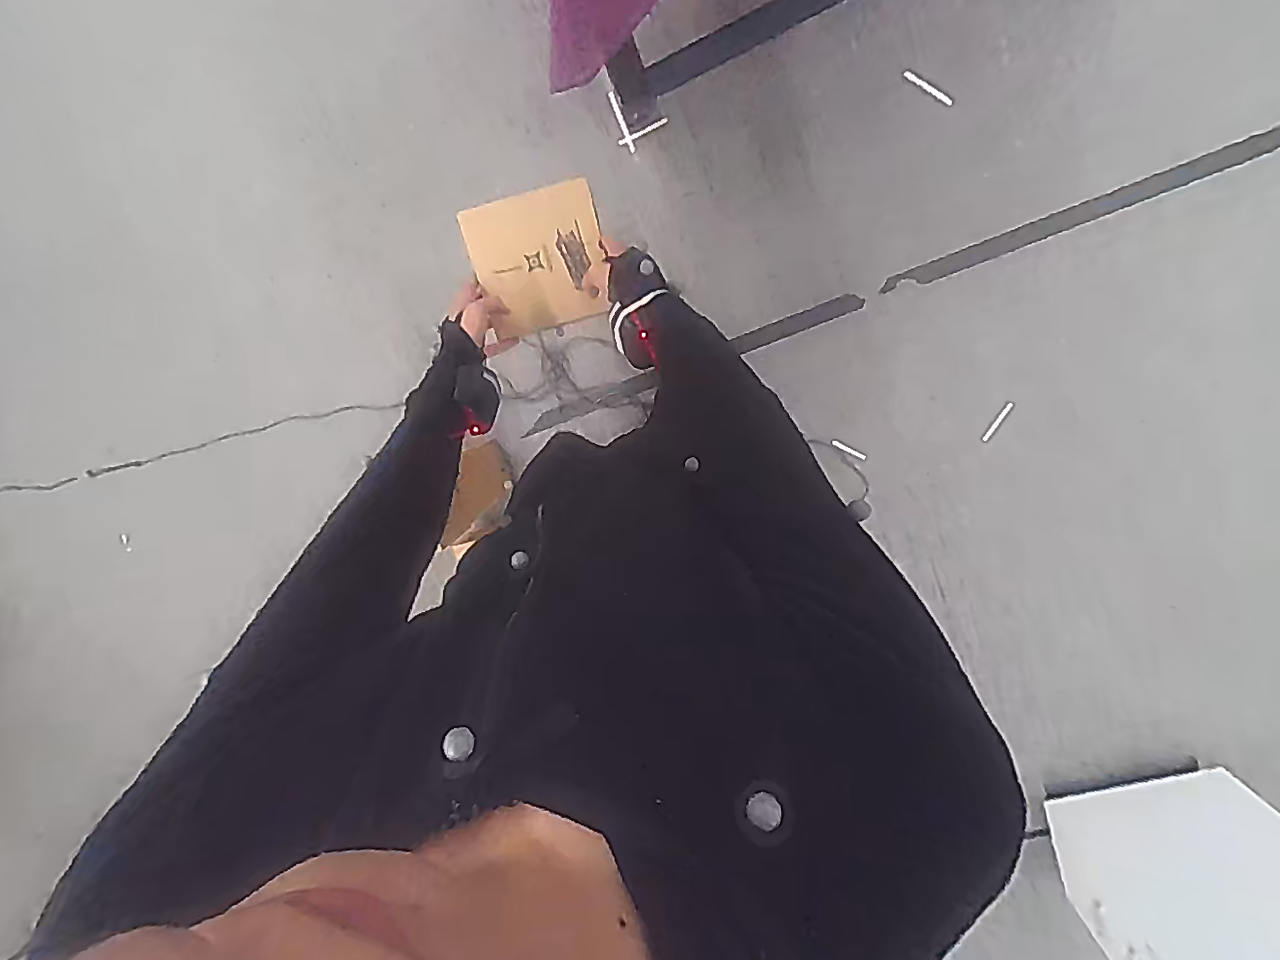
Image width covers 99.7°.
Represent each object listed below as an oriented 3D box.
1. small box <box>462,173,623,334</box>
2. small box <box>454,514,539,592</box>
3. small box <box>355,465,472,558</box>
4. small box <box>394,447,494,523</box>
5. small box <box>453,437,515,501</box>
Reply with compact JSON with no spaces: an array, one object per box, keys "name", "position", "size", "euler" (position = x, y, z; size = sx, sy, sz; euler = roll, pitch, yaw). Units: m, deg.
[{"name":"small box","position":[-0.129,-0.314,0.777],"size":[0.179,0.176,0.168],"euler":[-14,106,2]},{"name":"small box","position":[-0.433,0.219,1.658],"size":[0.179,0.176,0.168],"euler":[-15,103,10]},{"name":"small box","position":[-0.533,0.071,1.293],"size":[0.179,0.176,0.168],"euler":[-10,104,10]},{"name":"small box","position":[-0.518,0.028,1.451],"size":[0.168,0.176,0.179],"euler":[-18,102,11]},{"name":"small box","position":[-0.501,-0.013,1.606],"size":[0.179,0.176,0.168],"euler":[-19,103,11]}]
